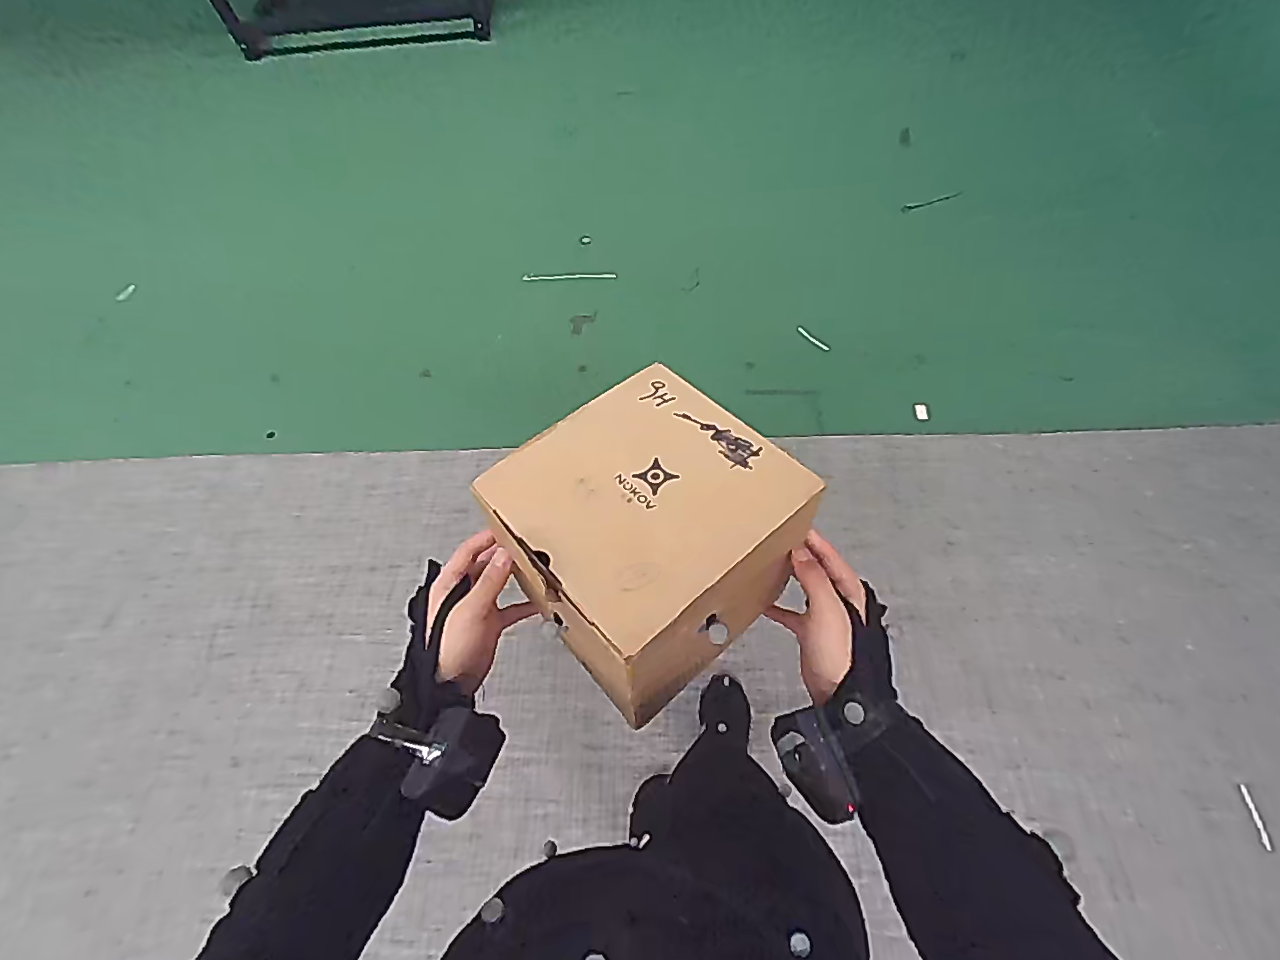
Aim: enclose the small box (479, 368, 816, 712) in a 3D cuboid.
[{"bbox_3d":[0.008,0.051,0.431,0.179,0.176,0.168,-37,60,-22],"label":"small box"}]
